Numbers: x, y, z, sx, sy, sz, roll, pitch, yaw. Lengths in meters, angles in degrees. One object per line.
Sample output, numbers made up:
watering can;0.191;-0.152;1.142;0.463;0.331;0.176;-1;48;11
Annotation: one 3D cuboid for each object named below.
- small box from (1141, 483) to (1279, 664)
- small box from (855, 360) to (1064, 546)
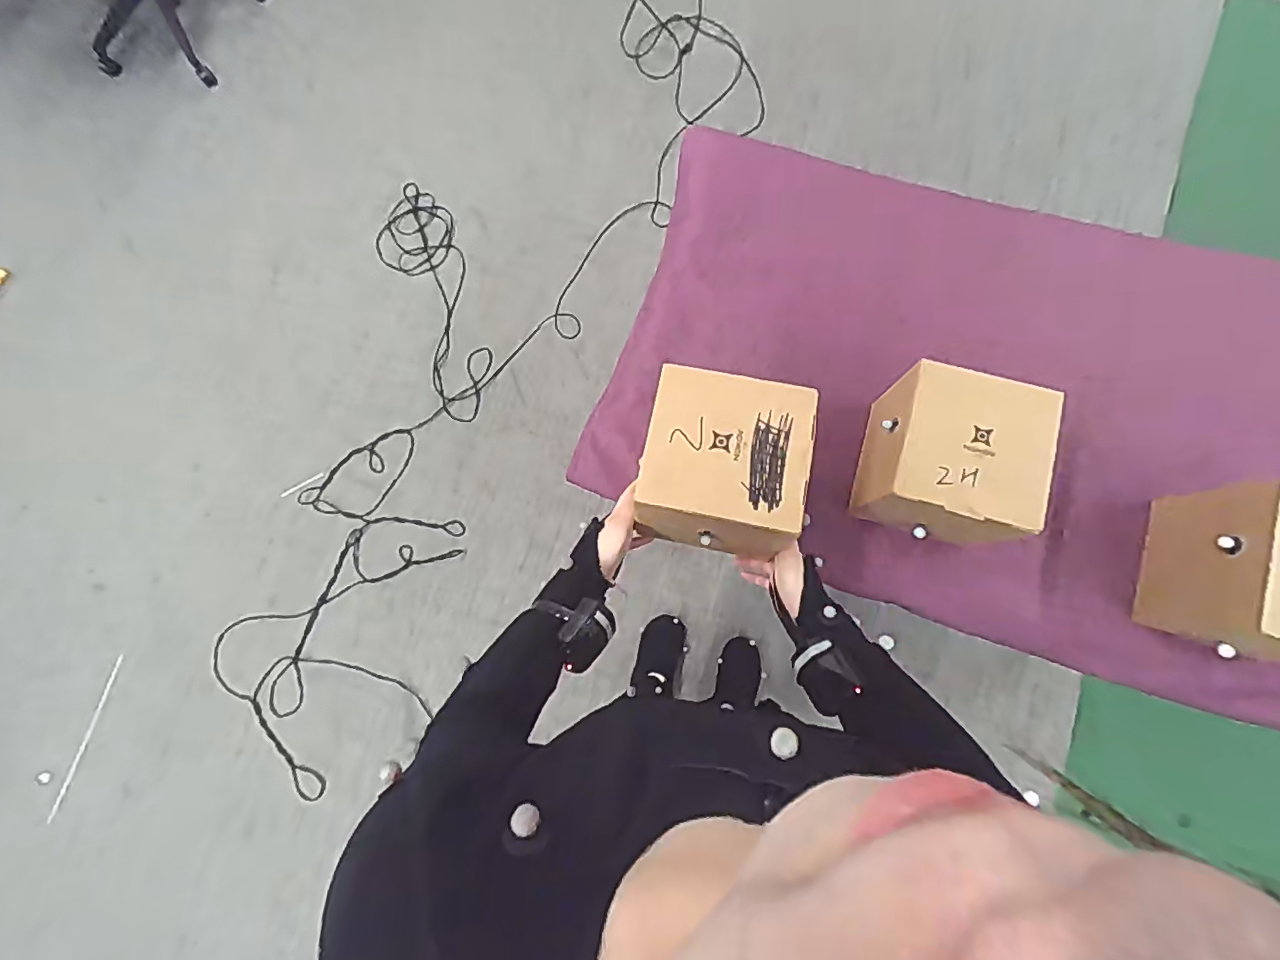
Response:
small box;0.761;0.118;0.649;0.168;0.176;0.179;17;81;7
small box;0.397;-0.025;0.699;0.168;0.176;0.179;15;79;8
